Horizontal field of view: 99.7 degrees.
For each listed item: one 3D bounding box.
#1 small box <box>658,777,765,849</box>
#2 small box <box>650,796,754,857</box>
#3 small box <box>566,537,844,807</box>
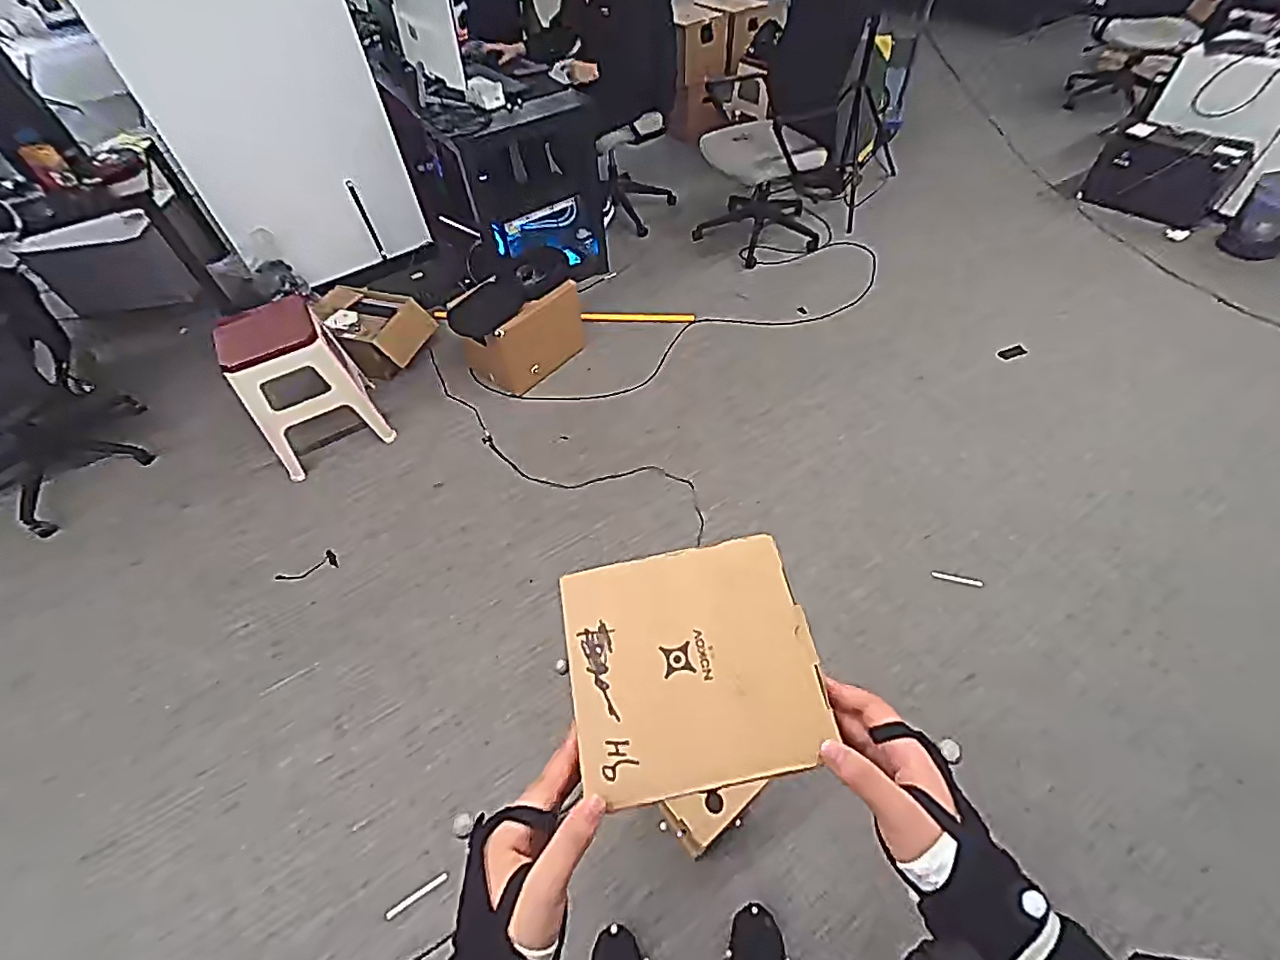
[{"bbox_3d":[0.127,0.610,1.097,0.179,0.176,0.168,-34,58,-22],"label":"small box"},{"bbox_3d":[0.130,0.714,1.222,0.179,0.176,0.168,-32,57,-19],"label":"small box"},{"bbox_3d":[0.042,0.169,0.464,0.179,0.176,0.168,-11,58,-3],"label":"small box"}]
